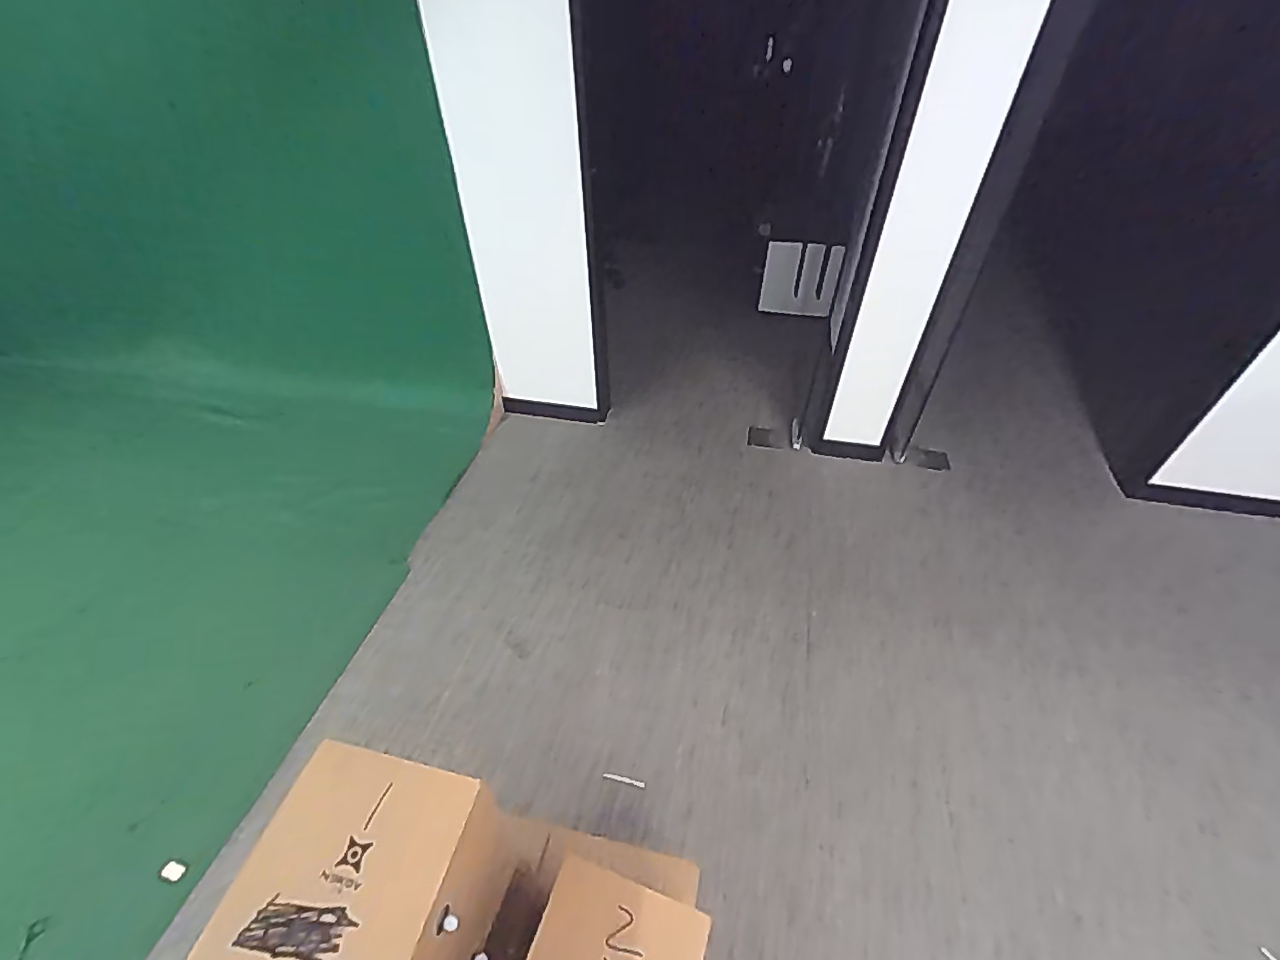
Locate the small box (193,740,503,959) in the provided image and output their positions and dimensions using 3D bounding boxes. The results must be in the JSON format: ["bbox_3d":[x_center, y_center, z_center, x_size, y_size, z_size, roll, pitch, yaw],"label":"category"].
[{"bbox_3d":[-0.241,0.380,0.503,0.168,0.176,0.179,10,43,8],"label":"small box"}]

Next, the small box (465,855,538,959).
[{"bbox_3d":[-0.247,0.615,0.732,0.168,0.176,0.179,11,44,9],"label":"small box"}]
